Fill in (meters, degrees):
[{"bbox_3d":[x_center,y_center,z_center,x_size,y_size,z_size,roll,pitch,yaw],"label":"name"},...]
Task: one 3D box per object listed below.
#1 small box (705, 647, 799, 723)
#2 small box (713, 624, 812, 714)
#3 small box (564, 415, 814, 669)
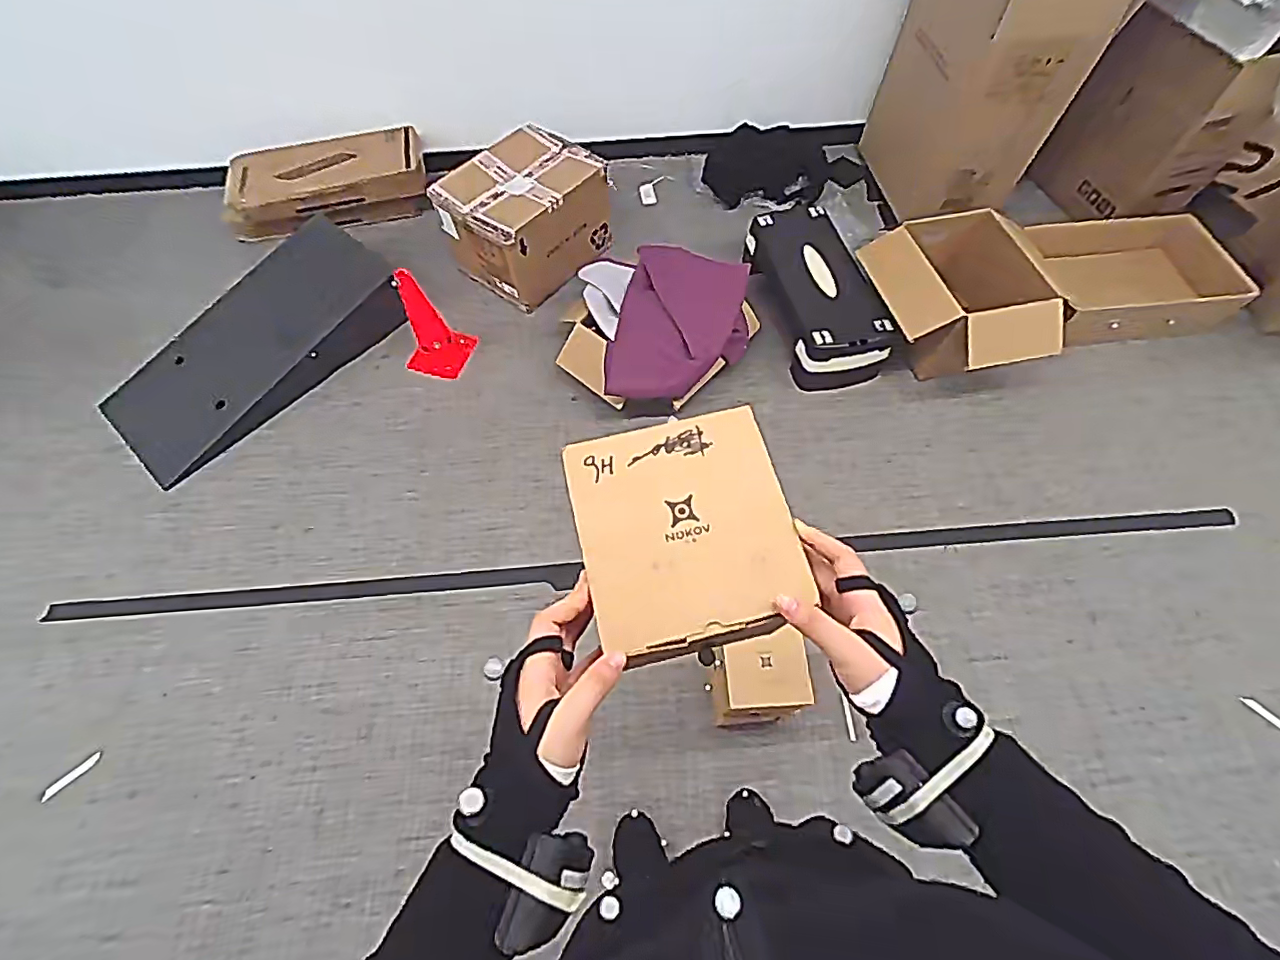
[{"bbox_3d":[0.259,0.484,1.296,0.179,0.176,0.168,-5,62,-1],"label":"small box"},{"bbox_3d":[0.251,0.398,1.158,0.168,0.176,0.179,-3,63,0],"label":"small box"},{"bbox_3d":[0.036,0.067,0.501,0.168,0.176,0.179,-13,70,-4],"label":"small box"}]
